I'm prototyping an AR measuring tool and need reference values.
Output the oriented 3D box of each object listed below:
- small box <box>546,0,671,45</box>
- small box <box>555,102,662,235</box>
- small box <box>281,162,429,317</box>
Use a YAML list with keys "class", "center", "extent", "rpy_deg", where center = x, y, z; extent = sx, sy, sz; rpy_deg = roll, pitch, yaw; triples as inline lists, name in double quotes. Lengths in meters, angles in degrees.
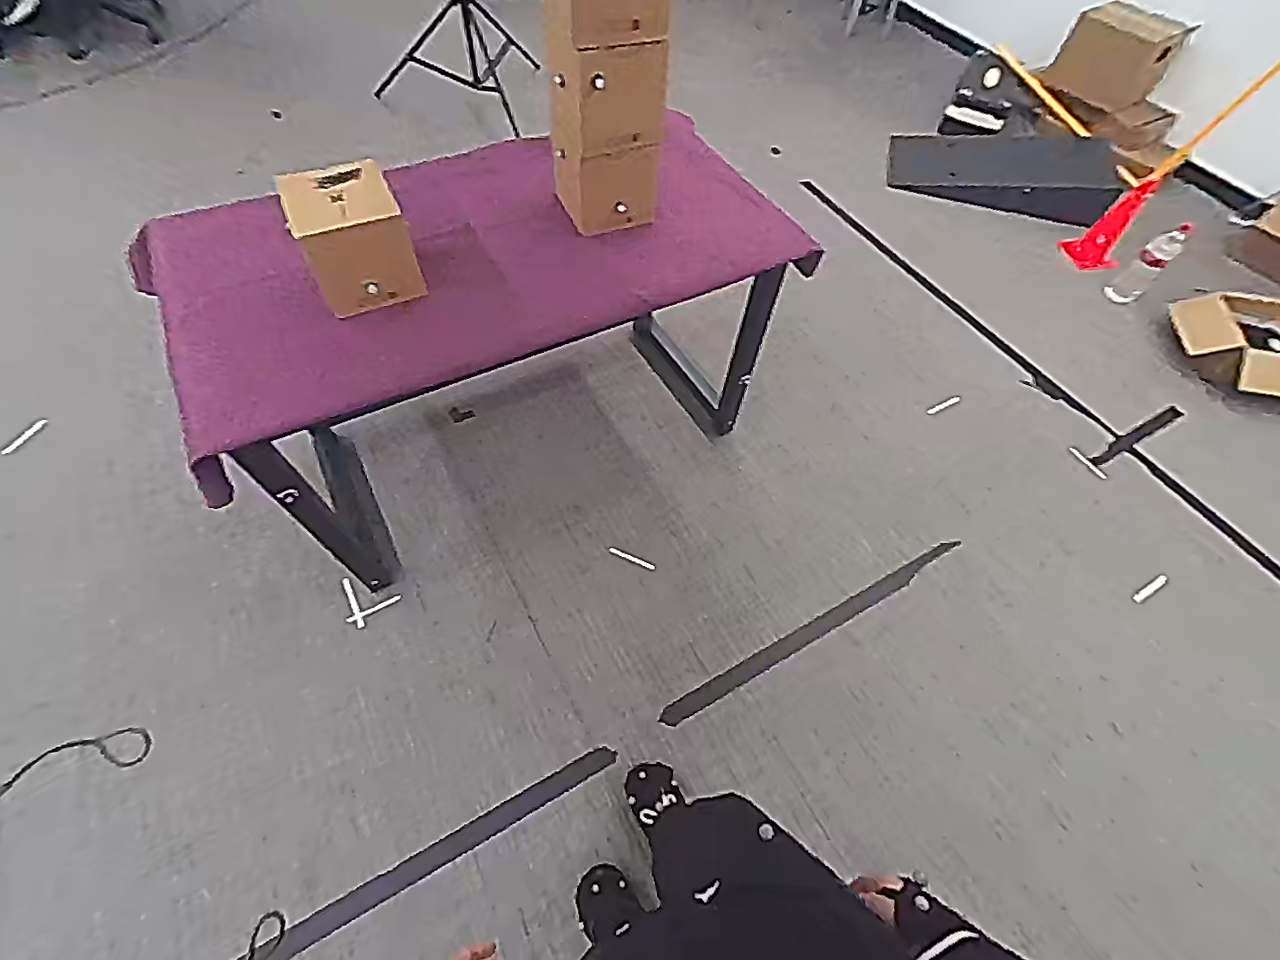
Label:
- class: "small box"
  center: [-0.051, -0.805, 0.838]
  extent: [0.168, 0.176, 0.179]
  rpy_deg: [-17, 60, -15]
- class: "small box"
  center: [-0.069, -0.642, 1.121]
  extent: [0.168, 0.176, 0.179]
  rpy_deg: [-20, 62, -14]
- class: "small box"
  center: [-0.497, -0.423, 0.960]
  extent: [0.168, 0.176, 0.179]
  rpy_deg: [-23, 64, -17]
